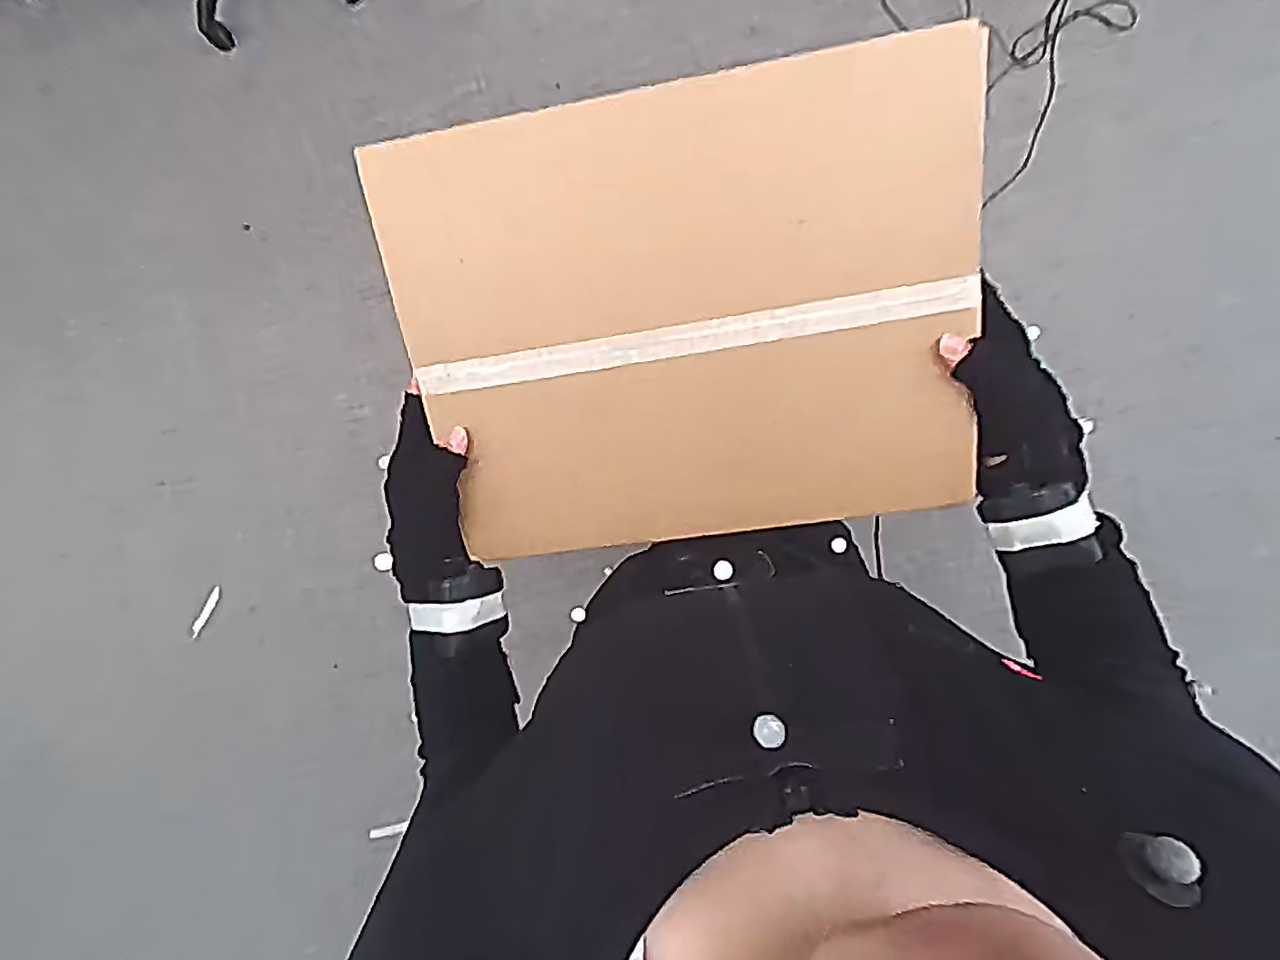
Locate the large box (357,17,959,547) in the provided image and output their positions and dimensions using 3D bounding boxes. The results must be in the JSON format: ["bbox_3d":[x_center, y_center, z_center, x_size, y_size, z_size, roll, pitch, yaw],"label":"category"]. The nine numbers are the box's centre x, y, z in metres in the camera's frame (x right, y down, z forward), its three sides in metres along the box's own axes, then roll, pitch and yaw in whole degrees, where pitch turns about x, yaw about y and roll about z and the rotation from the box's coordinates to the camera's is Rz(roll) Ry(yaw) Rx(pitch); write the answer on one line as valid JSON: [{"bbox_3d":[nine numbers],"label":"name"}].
[{"bbox_3d":[0.033,-0.162,0.535,0.408,0.320,0.320,-7,108,6],"label":"large box"}]
